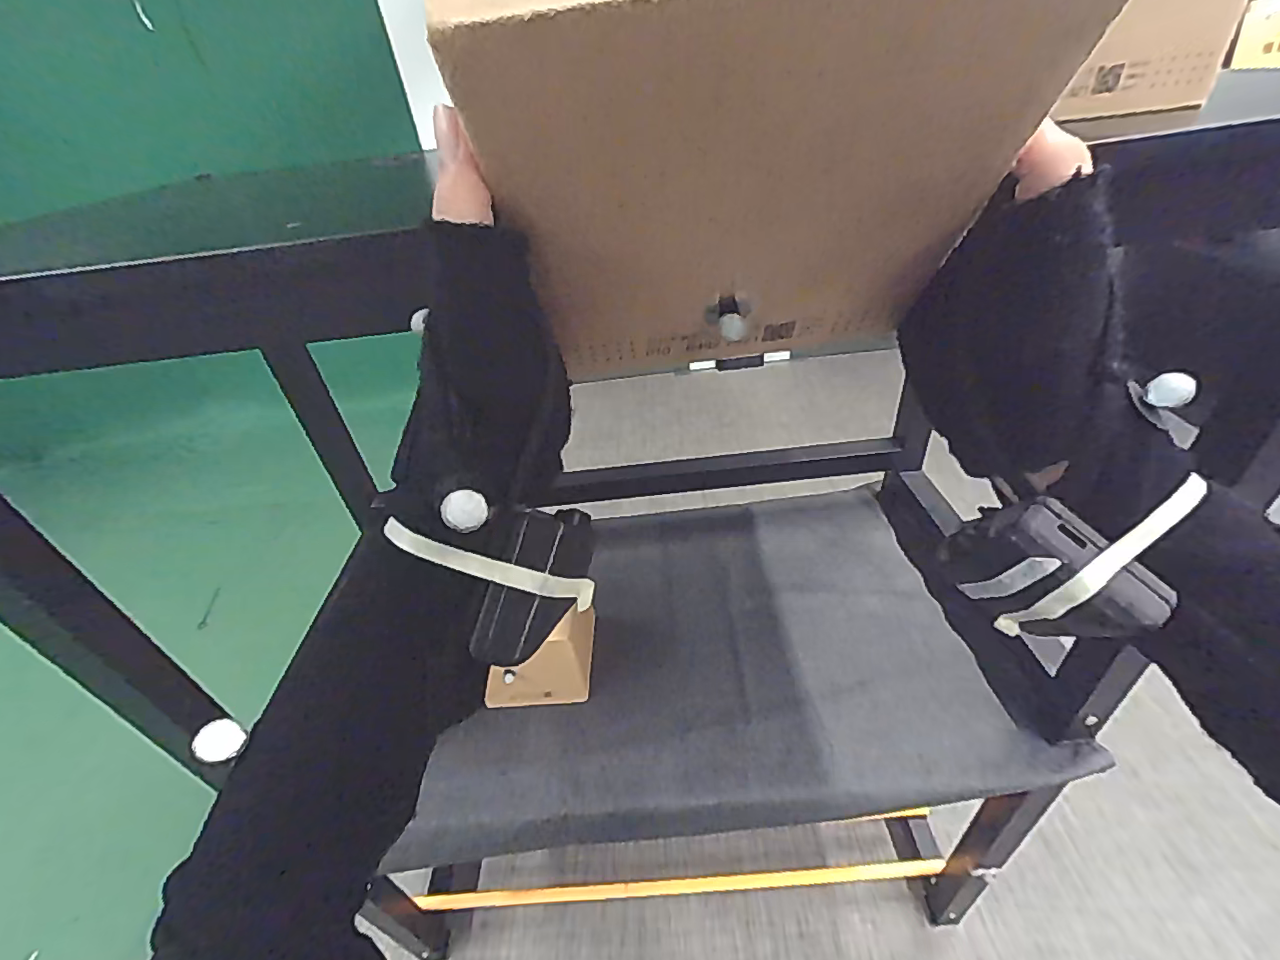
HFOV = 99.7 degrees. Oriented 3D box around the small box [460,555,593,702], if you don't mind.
[{"bbox_3d":[-0.175,0.250,0.897,0.168,0.176,0.179,-5,36,3],"label":"small box"}]
